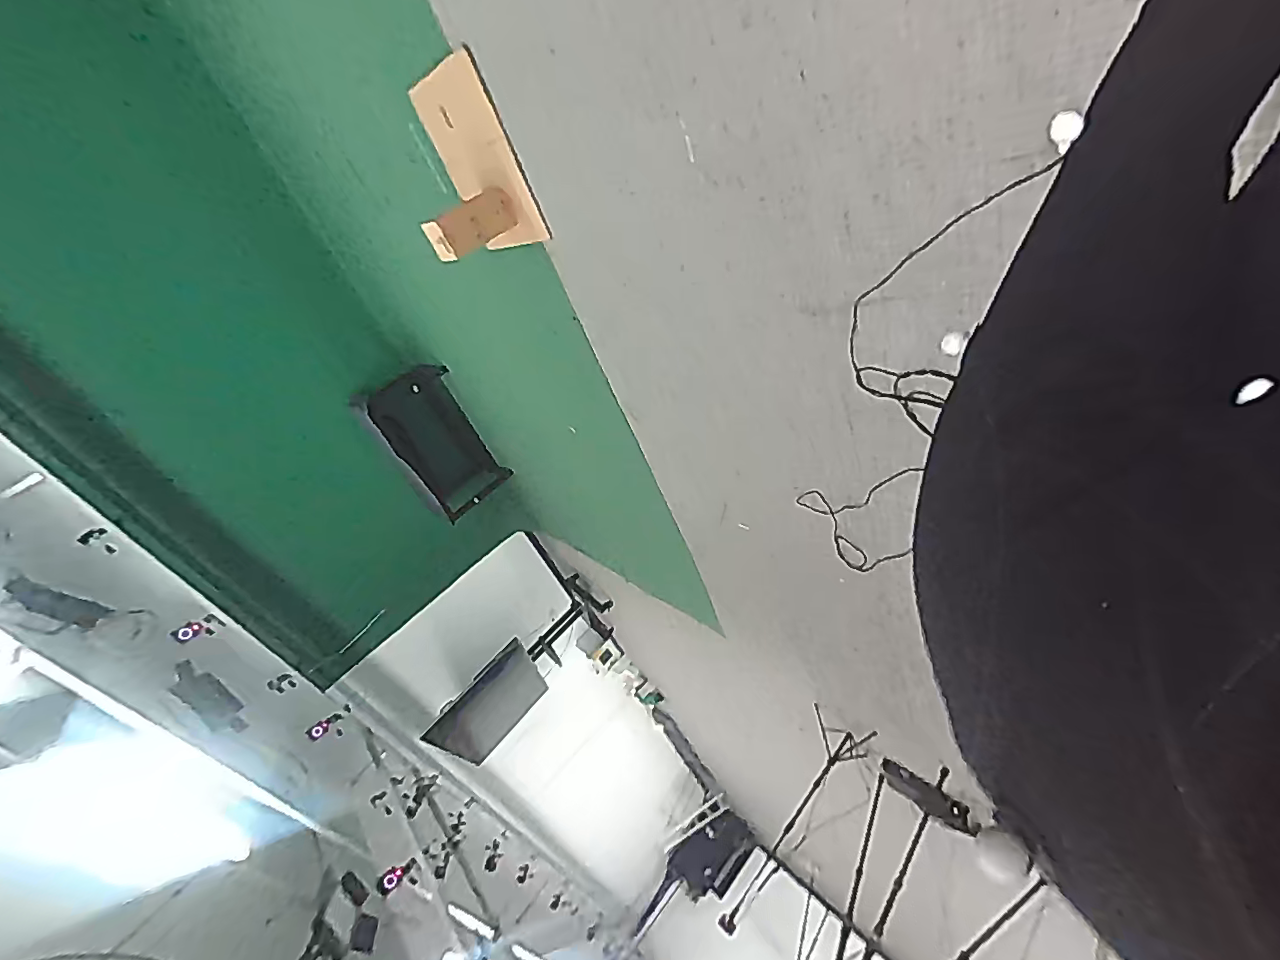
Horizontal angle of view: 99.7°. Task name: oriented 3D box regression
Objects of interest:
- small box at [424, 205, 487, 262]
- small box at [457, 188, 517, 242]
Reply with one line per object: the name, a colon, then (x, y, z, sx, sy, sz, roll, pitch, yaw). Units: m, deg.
small box: (-0.786, -1.060, 2.325, 0.179, 0.176, 0.168, 22, 146, 47)
small box: (-0.674, -1.163, 2.388, 0.179, 0.176, 0.168, 19, 144, 48)
